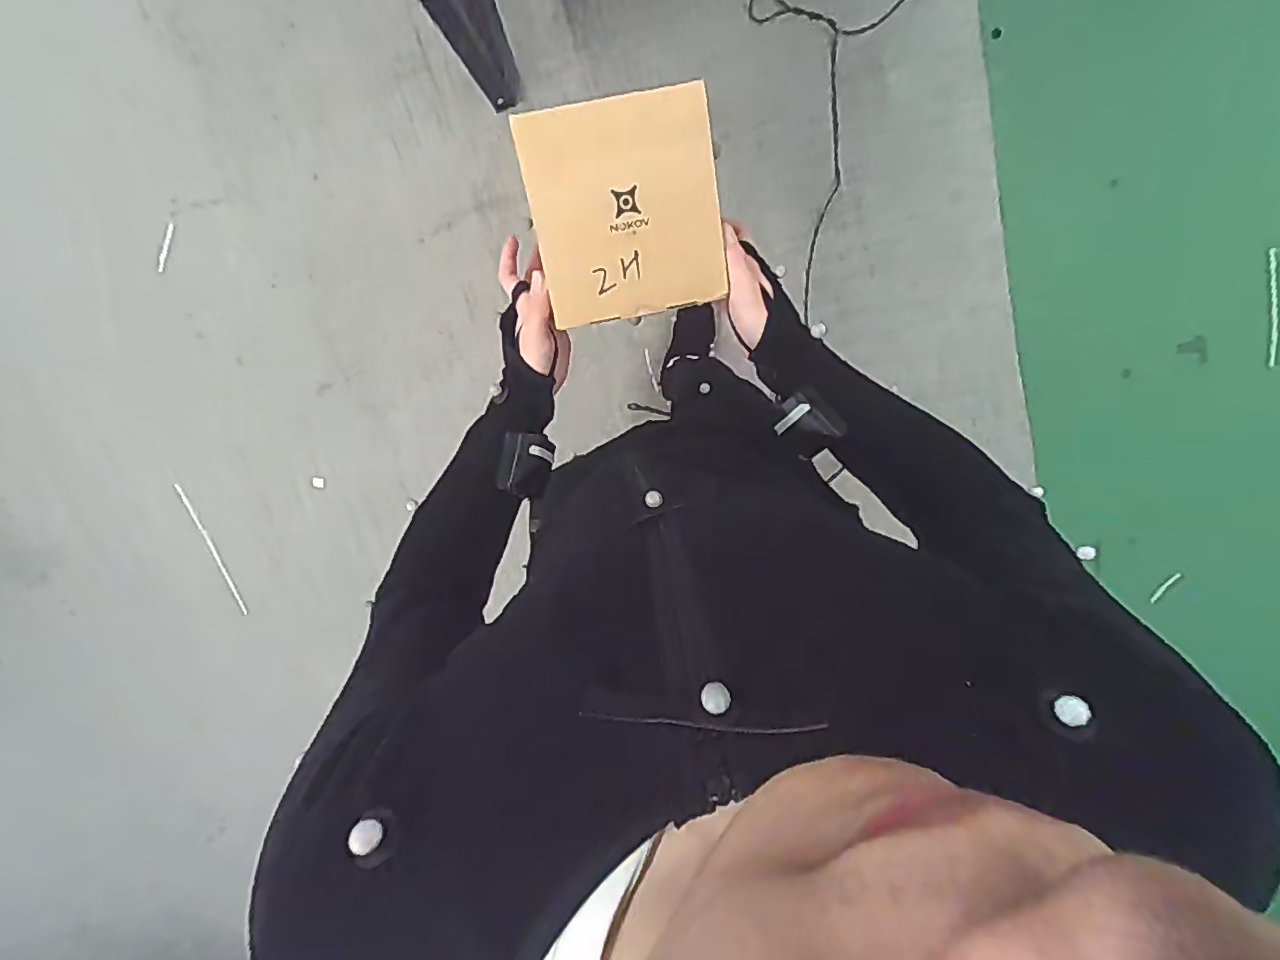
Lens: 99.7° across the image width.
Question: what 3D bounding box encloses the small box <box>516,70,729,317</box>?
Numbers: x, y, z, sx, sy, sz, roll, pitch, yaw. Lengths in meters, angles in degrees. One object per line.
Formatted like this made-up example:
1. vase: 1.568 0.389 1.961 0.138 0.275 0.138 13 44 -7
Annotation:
1. small box: -0.017 -0.268 0.542 0.168 0.176 0.179 -10 111 -1
